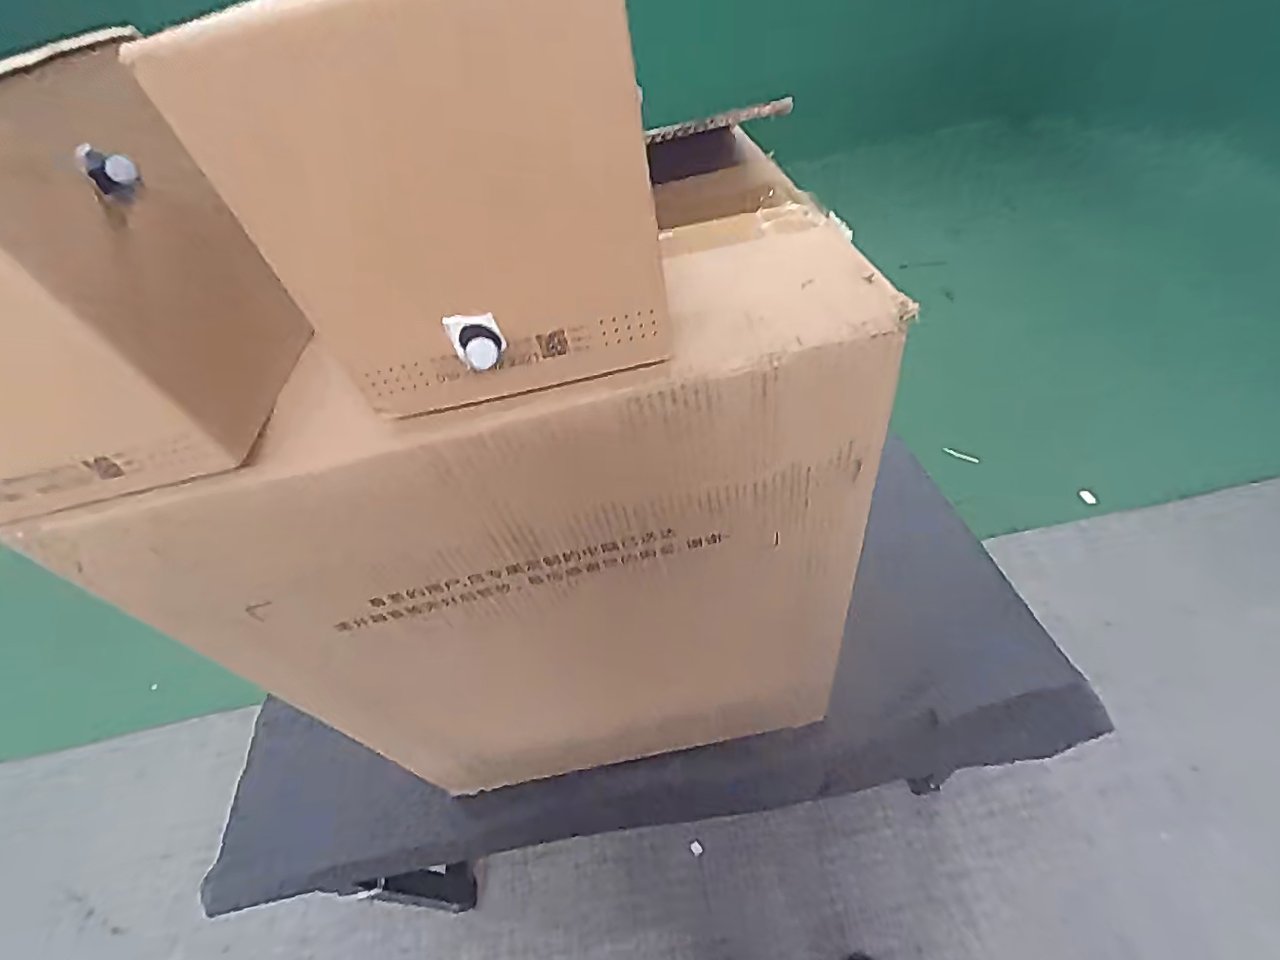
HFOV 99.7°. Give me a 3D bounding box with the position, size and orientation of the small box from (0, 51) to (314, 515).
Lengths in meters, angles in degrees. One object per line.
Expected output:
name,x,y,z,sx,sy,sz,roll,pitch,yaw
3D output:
small box,-0.322,-0.097,0.298,0.168,0.176,0.179,-12,46,4

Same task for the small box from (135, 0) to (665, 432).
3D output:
small box,-0.089,-0.154,0.293,0.168,0.176,0.179,-14,48,2
